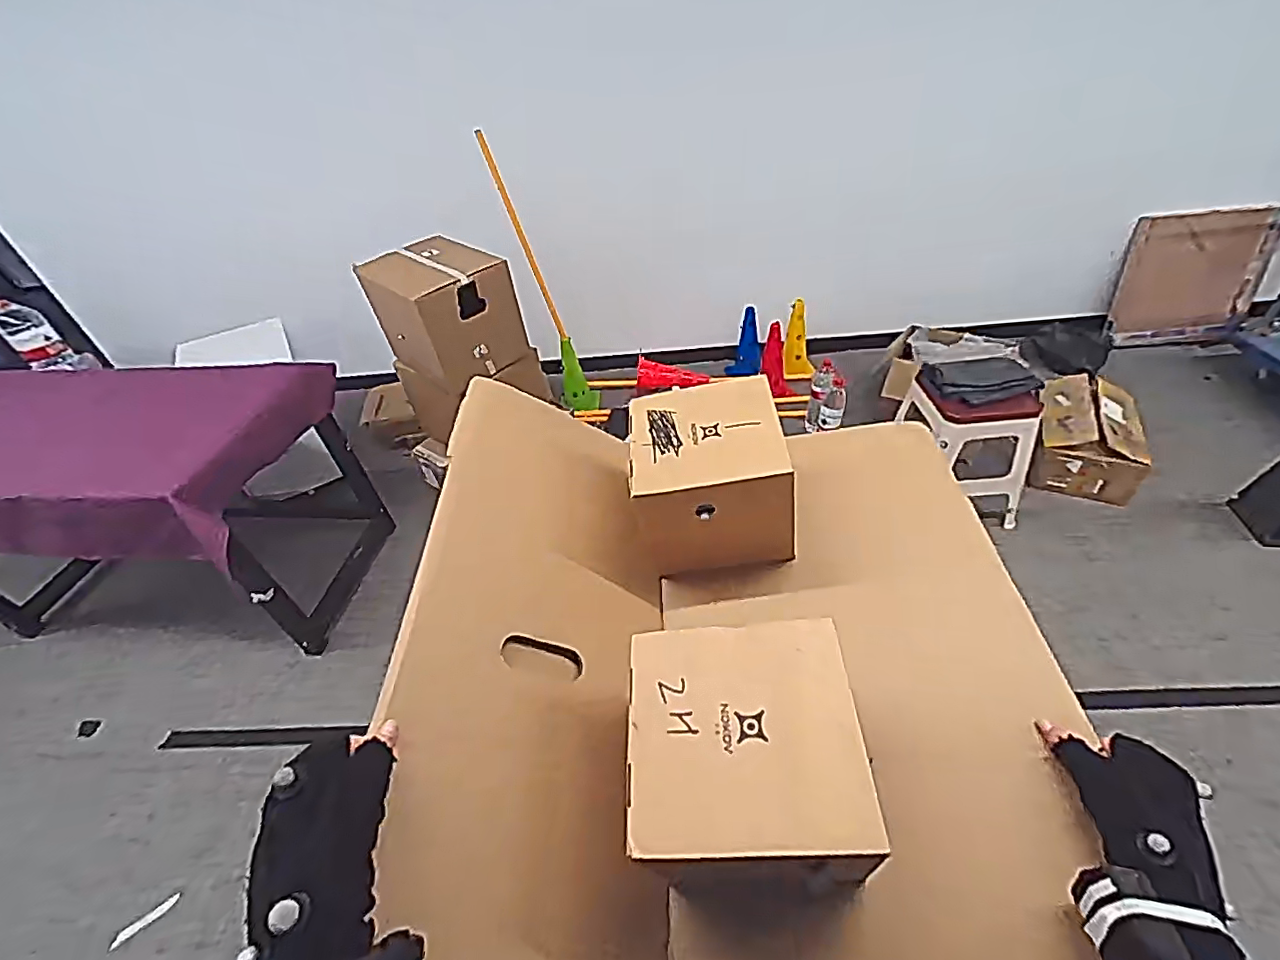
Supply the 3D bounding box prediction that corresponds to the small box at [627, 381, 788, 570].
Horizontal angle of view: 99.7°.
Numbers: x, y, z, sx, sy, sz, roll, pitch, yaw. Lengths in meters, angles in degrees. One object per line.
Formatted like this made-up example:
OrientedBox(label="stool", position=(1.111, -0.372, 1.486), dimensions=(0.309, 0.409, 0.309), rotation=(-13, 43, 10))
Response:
OrientedBox(label="small box", position=(0.087, 0.001, 0.698), dimensions=(0.179, 0.176, 0.168), rotation=(-9, 48, 8))
